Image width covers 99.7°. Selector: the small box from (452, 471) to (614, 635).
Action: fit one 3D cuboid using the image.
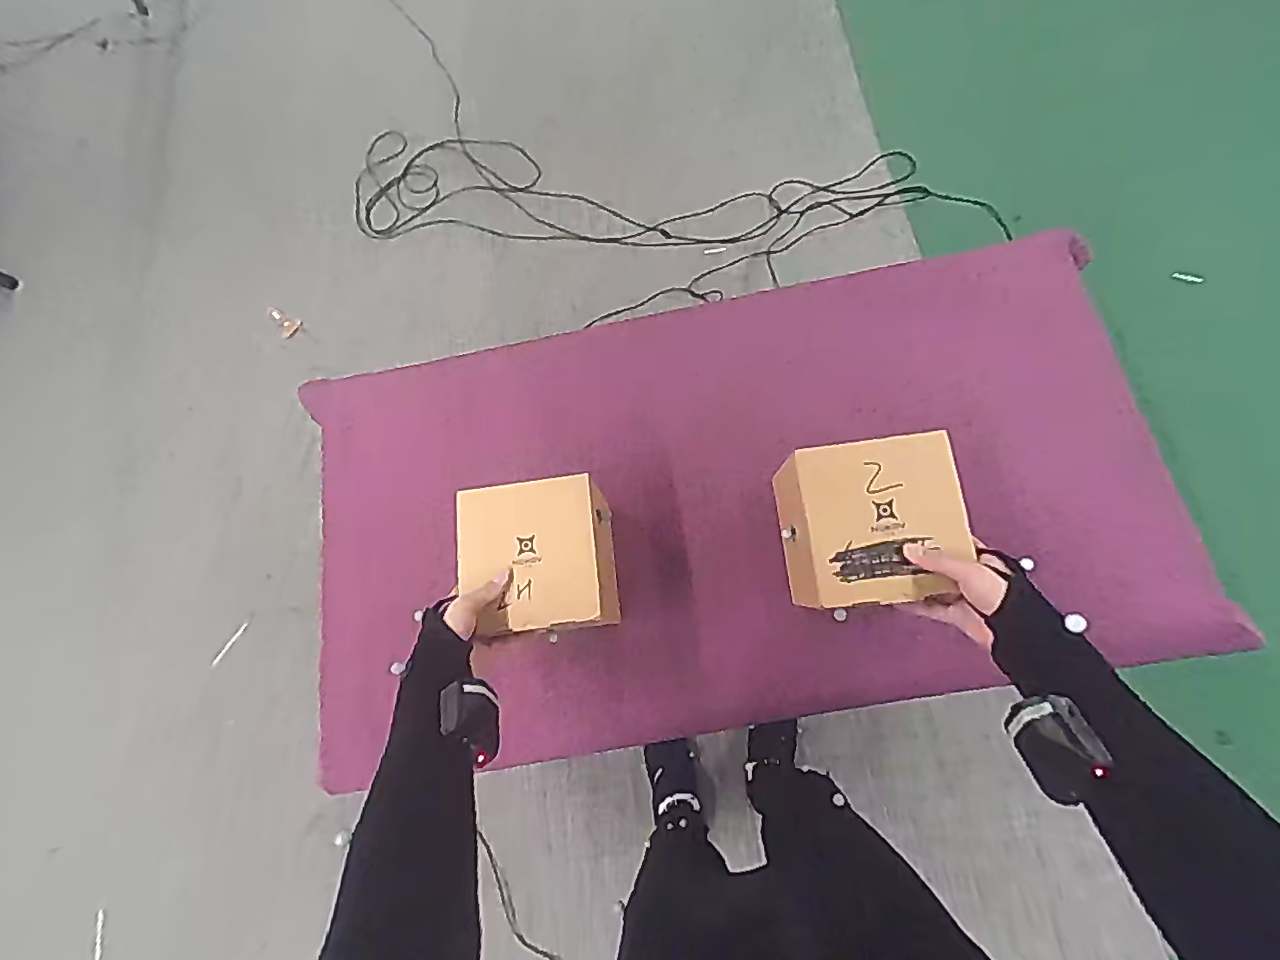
[{"bbox_3d":[-0.128,0.102,0.697,0.168,0.176,0.179,-7,74,3],"label":"small box"}]
